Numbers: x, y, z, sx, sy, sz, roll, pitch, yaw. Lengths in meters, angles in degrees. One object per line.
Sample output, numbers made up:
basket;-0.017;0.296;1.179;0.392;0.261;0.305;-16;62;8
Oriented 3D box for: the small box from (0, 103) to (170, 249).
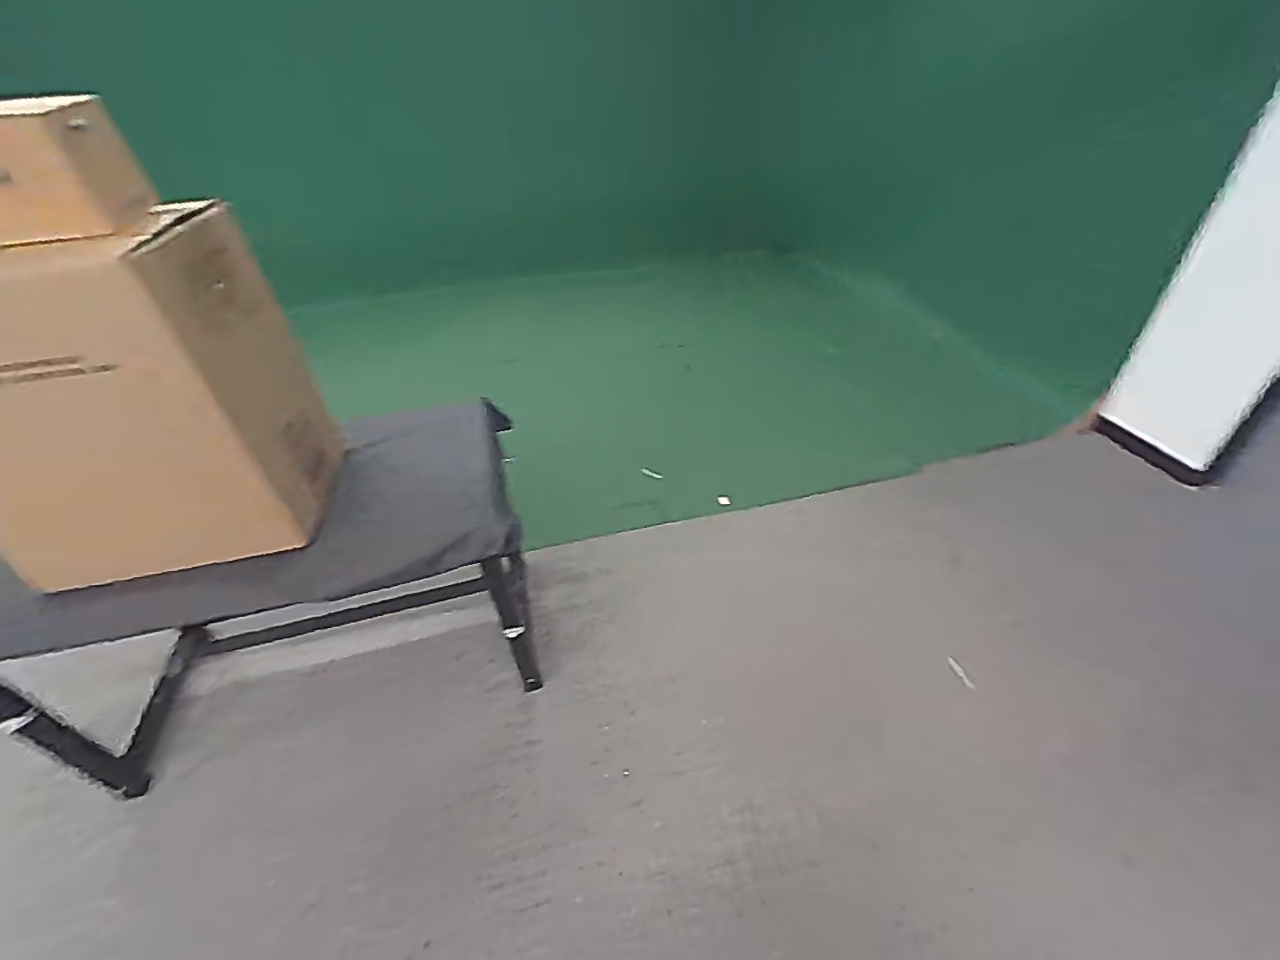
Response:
small box;-0.938;-0.491;0.878;0.179;0.176;0.168;-10;44;-5
